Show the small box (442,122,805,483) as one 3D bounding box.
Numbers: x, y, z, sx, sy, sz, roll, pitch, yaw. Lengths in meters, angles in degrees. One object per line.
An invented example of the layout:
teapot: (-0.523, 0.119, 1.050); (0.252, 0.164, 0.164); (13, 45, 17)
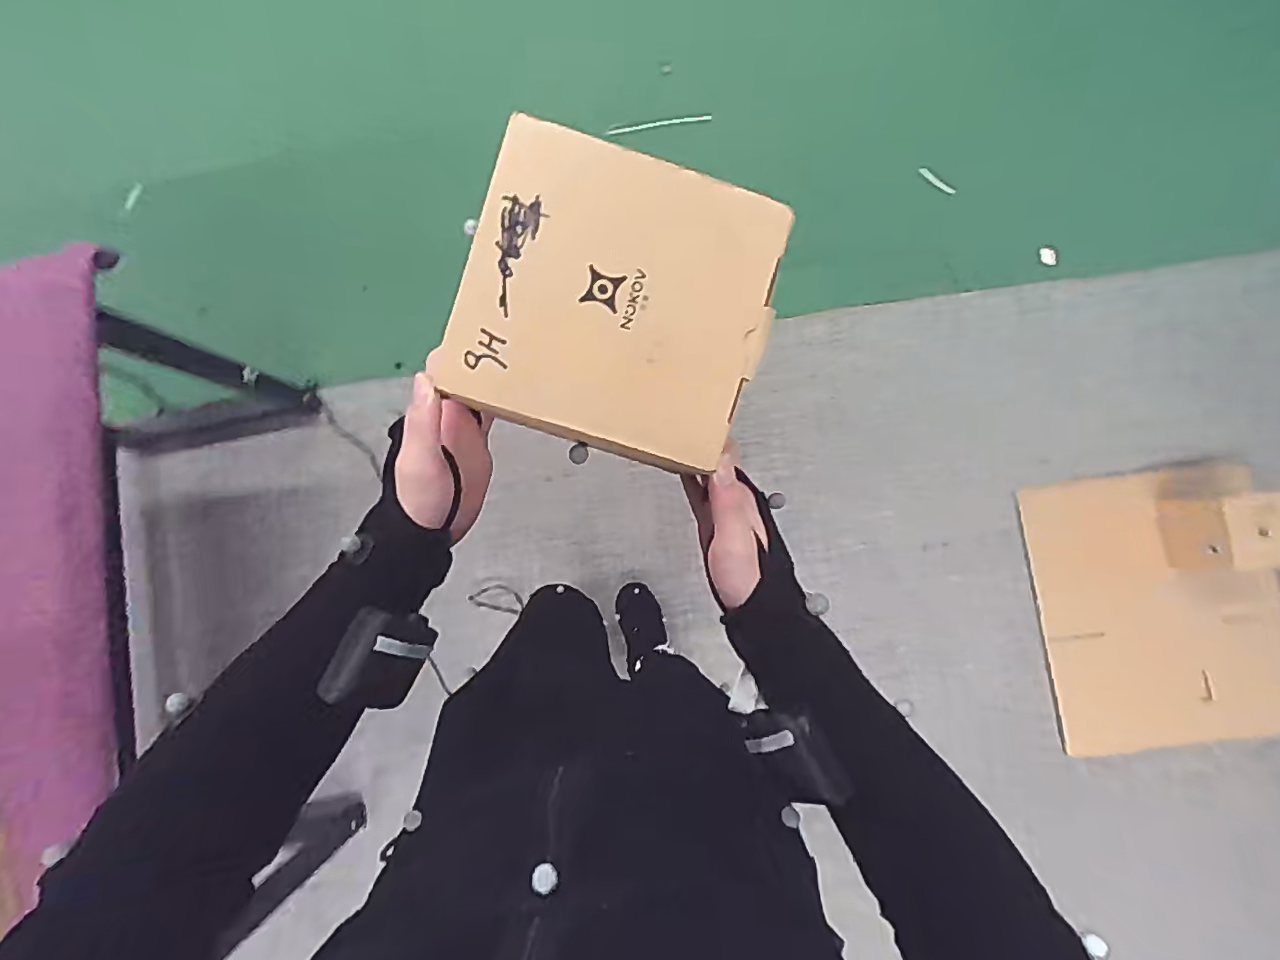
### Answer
small box: (-0.014, -0.103, 0.394); (0.179, 0.176, 0.168); (18, 89, -5)

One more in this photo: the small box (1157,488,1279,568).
small box: (1.437, 0.117, 1.327); (0.168, 0.176, 0.179); (-6, 84, 1)
